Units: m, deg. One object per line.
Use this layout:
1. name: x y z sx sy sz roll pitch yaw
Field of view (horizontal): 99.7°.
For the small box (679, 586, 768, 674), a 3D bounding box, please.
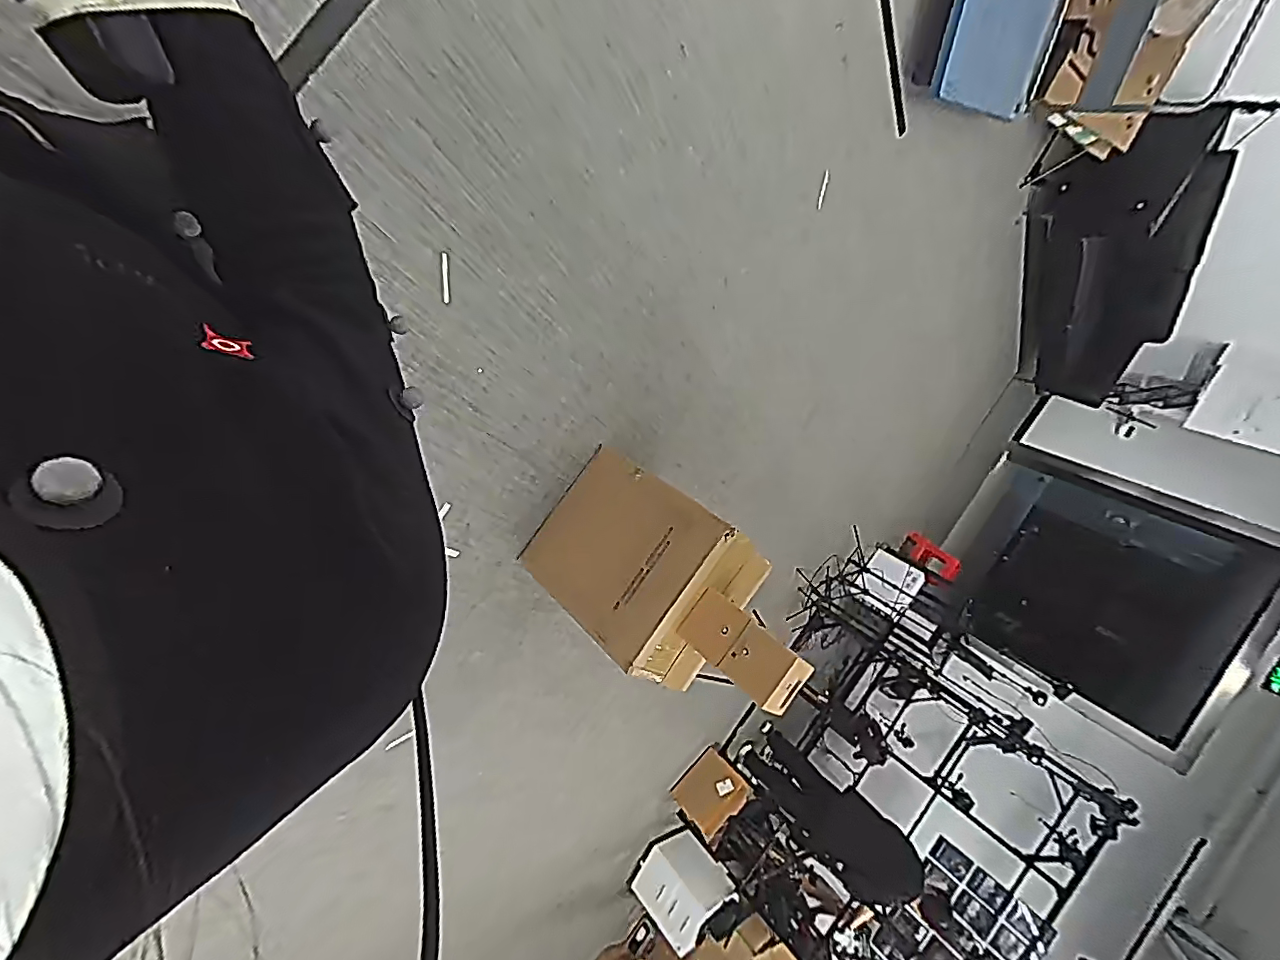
1. small box: 0.247 0.446 1.615 0.179 0.176 0.168 -53 140 -4
